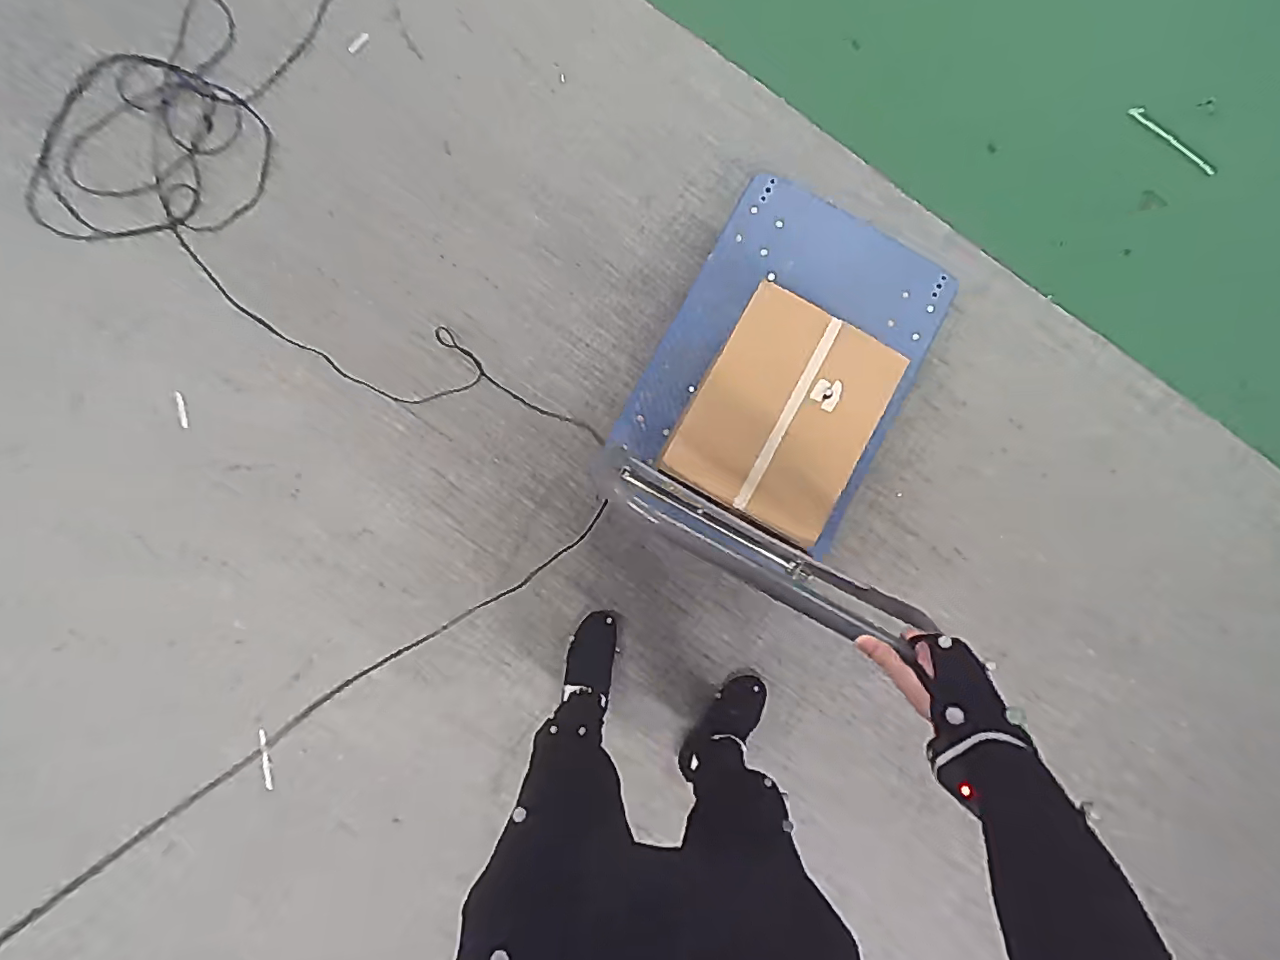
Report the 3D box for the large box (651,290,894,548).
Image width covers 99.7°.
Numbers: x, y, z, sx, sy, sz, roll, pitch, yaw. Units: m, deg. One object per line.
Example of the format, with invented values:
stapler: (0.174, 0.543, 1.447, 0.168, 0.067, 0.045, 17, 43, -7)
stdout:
large box: (0.252, -0.102, 1.150, 0.320, 0.320, 0.408, 29, 84, -1)
